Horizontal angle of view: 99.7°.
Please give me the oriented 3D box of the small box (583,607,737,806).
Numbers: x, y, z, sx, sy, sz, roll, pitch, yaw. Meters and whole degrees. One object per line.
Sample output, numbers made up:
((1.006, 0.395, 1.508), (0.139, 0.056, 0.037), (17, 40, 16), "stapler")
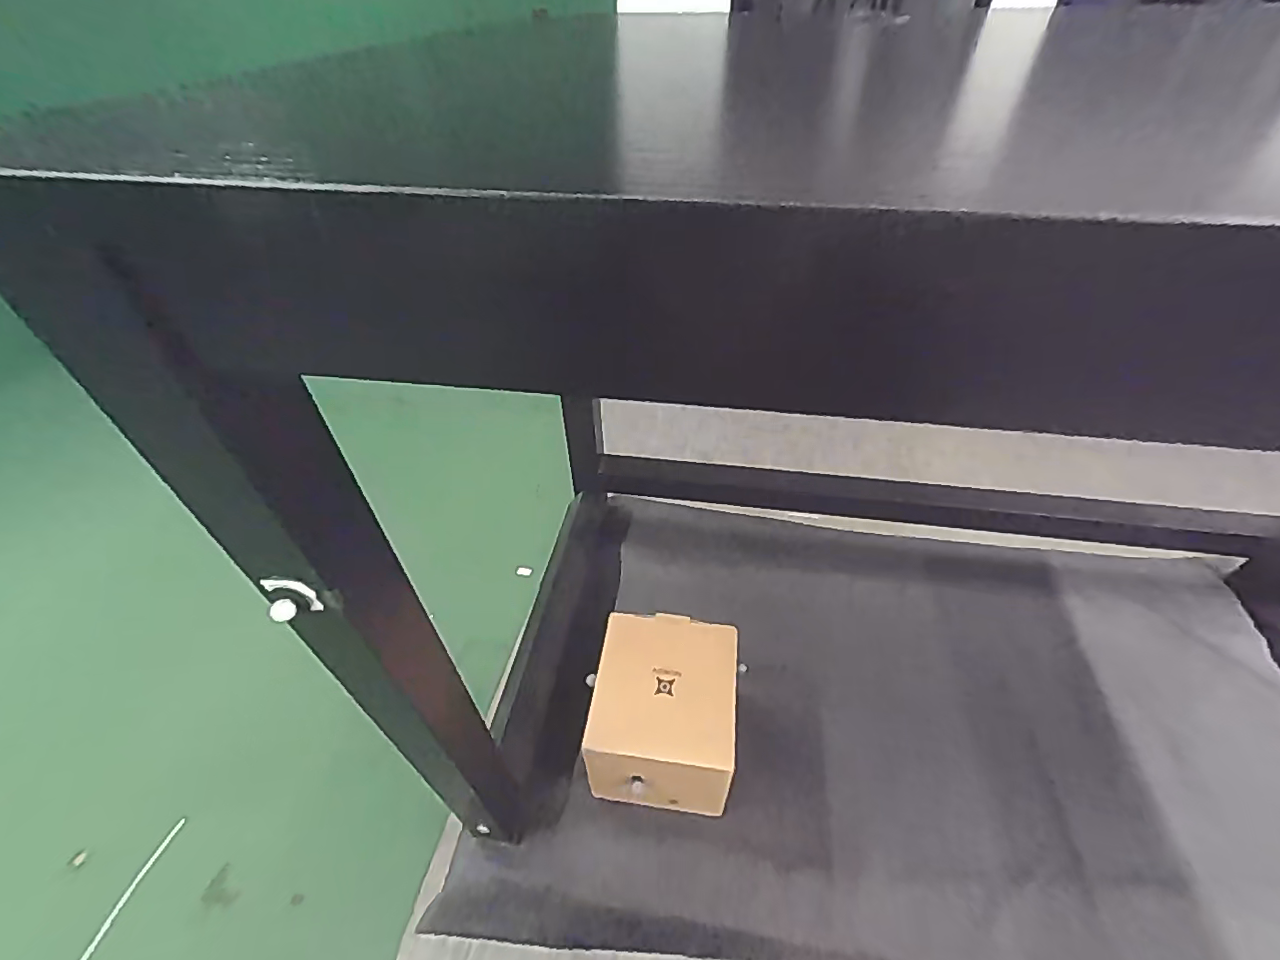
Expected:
((0.033, 0.288, 0.686), (0.168, 0.176, 0.179), (5, 43, 7), "small box")
